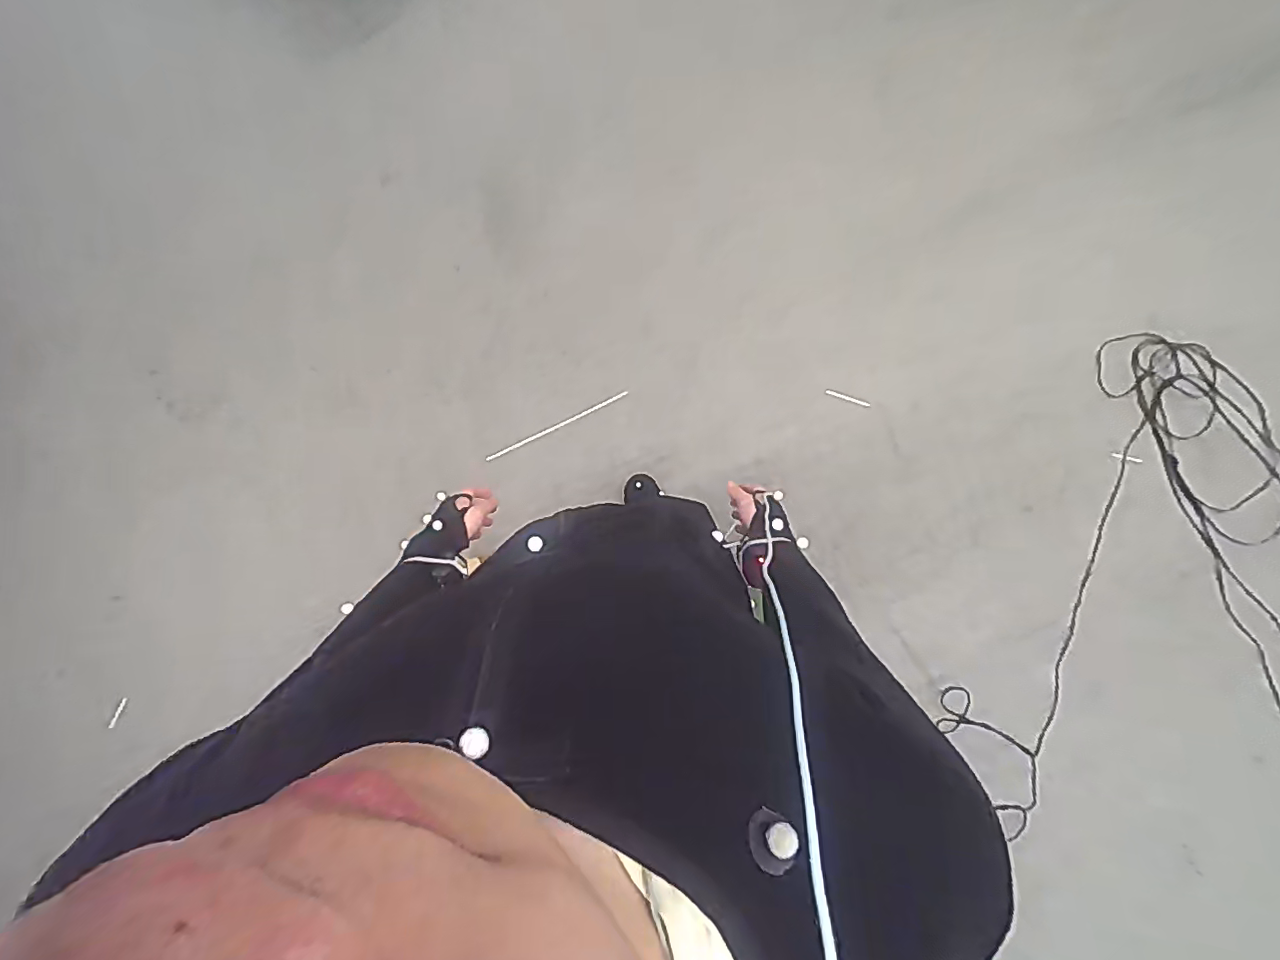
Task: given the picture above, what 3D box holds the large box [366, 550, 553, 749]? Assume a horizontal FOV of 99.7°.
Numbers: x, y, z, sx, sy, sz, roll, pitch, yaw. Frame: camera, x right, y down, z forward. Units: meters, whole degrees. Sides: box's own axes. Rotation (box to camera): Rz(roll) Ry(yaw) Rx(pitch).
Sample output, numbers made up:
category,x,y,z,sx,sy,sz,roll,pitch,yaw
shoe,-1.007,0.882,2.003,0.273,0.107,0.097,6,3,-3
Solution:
category,x,y,z,sx,sy,sz,roll,pitch,yaw
large box,-0.476,0.443,1.504,0.320,0.320,0.408,-22,86,-2
